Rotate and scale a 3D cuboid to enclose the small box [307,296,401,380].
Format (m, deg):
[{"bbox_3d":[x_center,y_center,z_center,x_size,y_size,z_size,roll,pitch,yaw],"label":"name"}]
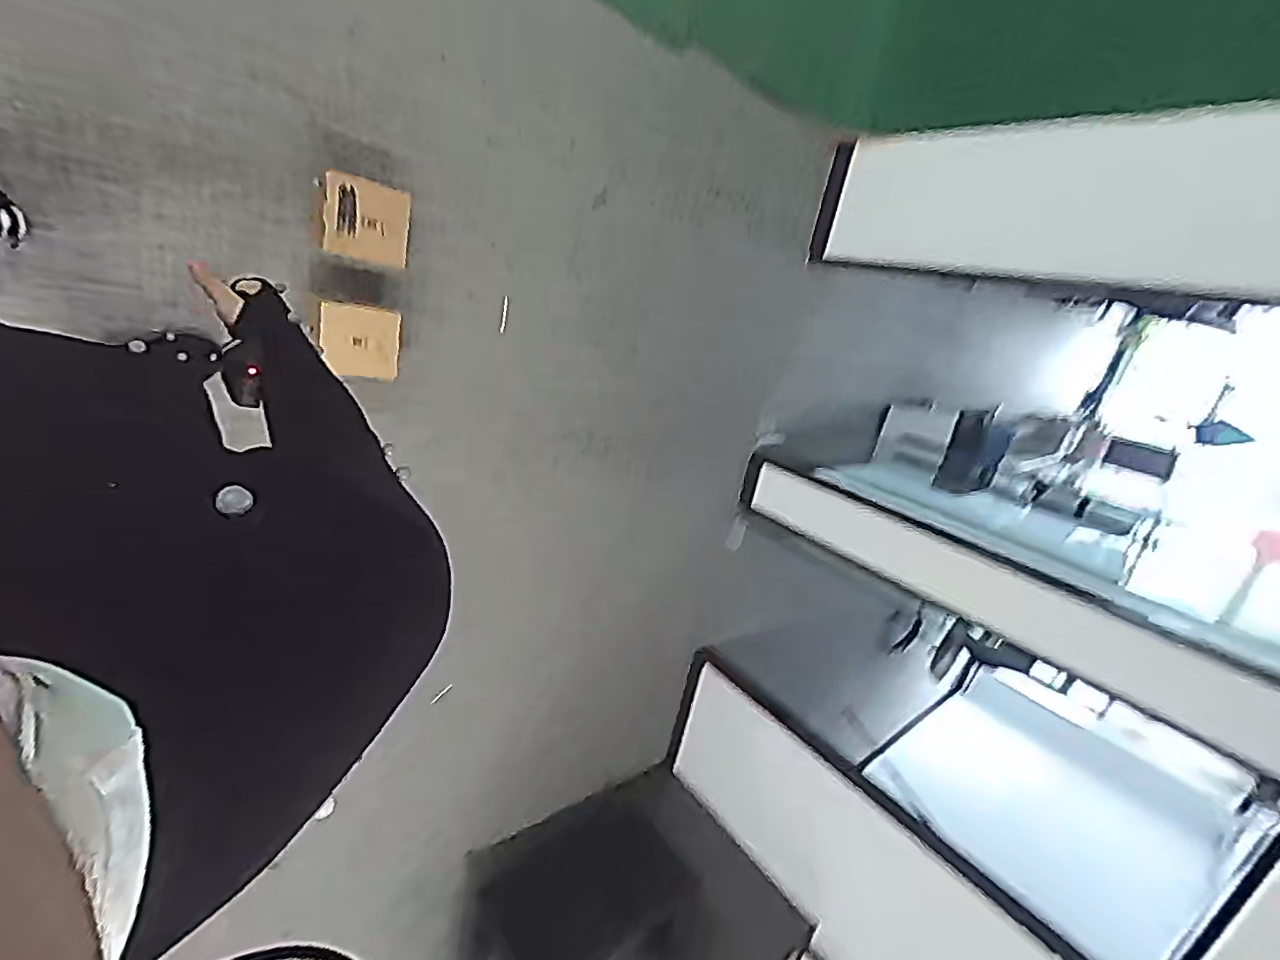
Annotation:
[{"bbox_3d":[-0.719,-0.356,1.348,0.179,0.176,0.168,-3,114,-41],"label":"small box"}]
